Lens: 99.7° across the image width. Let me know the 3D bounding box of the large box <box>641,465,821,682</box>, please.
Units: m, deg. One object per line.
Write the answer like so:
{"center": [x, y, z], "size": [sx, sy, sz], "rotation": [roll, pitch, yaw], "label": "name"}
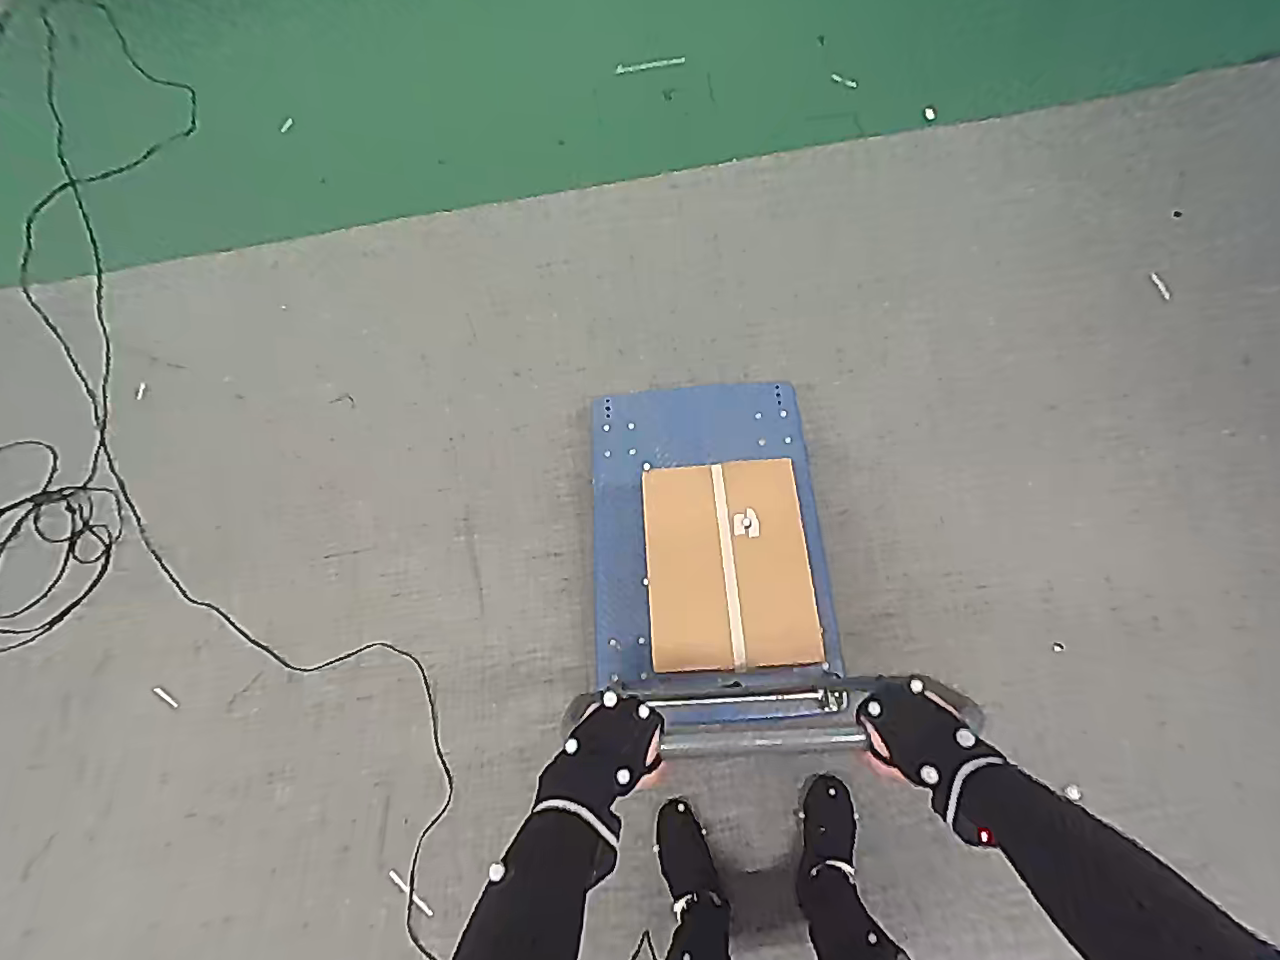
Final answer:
{"center": [0.180, 0.222, 1.203], "size": [0.320, 0.320, 0.408], "rotation": [-5, 67, 2], "label": "large box"}
